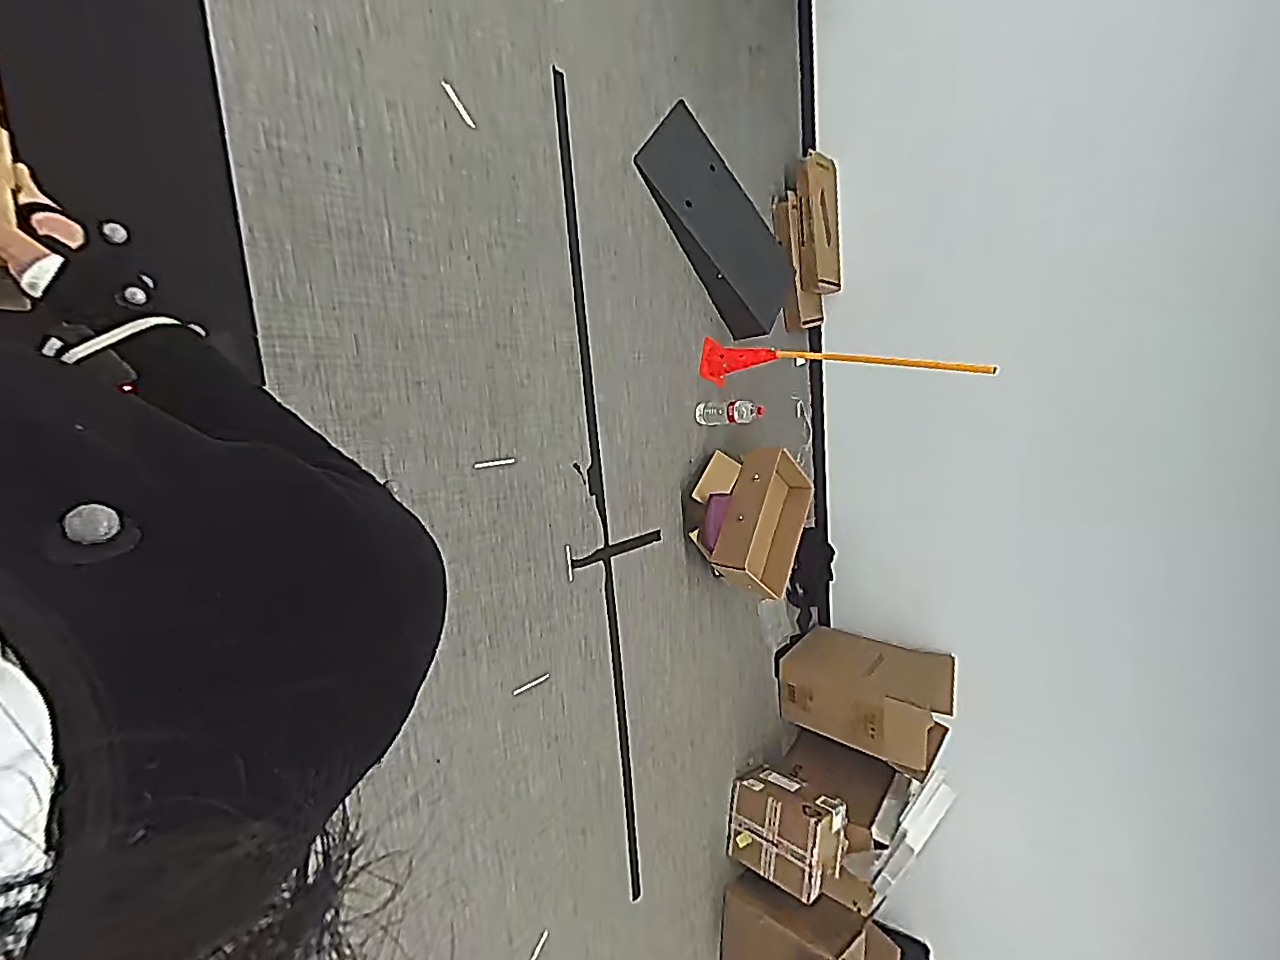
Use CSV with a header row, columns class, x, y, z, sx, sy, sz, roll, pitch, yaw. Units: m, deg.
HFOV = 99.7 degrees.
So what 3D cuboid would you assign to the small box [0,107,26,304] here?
class,x,y,z,sx,sy,sz,roll,pitch,yaw
small box,-0.601,-0.235,0.403,0.179,0.176,0.168,-11,100,-49
